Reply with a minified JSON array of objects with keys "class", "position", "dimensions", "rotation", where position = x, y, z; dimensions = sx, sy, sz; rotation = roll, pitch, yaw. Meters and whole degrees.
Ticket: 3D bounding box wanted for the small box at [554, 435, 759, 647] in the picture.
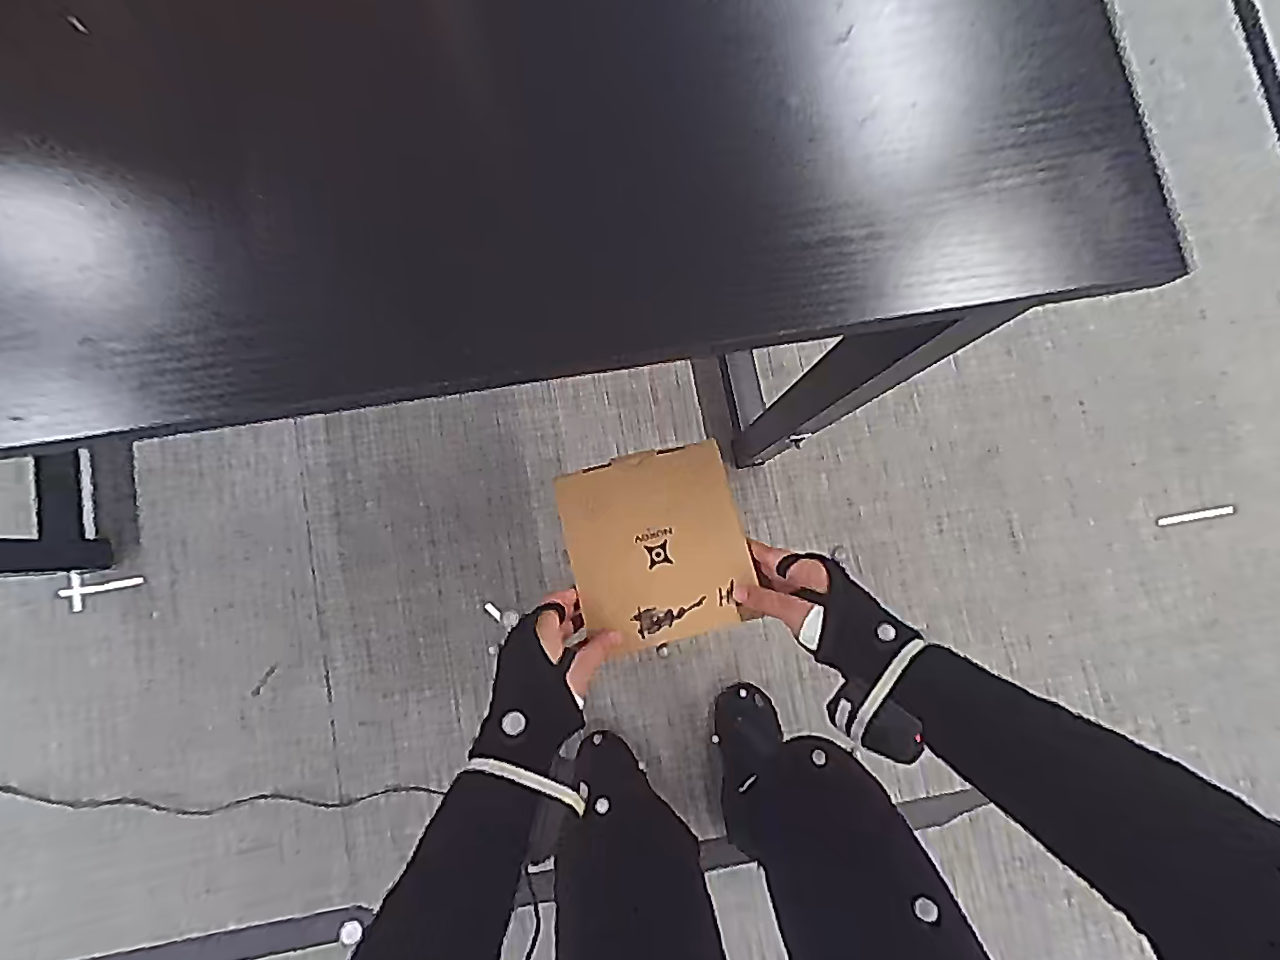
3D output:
[{"class":"small box","position":[0.011,0.071,0.589],"dimensions":[0.168,0.176,0.179],"rotation":[-14,79,-3]}]
